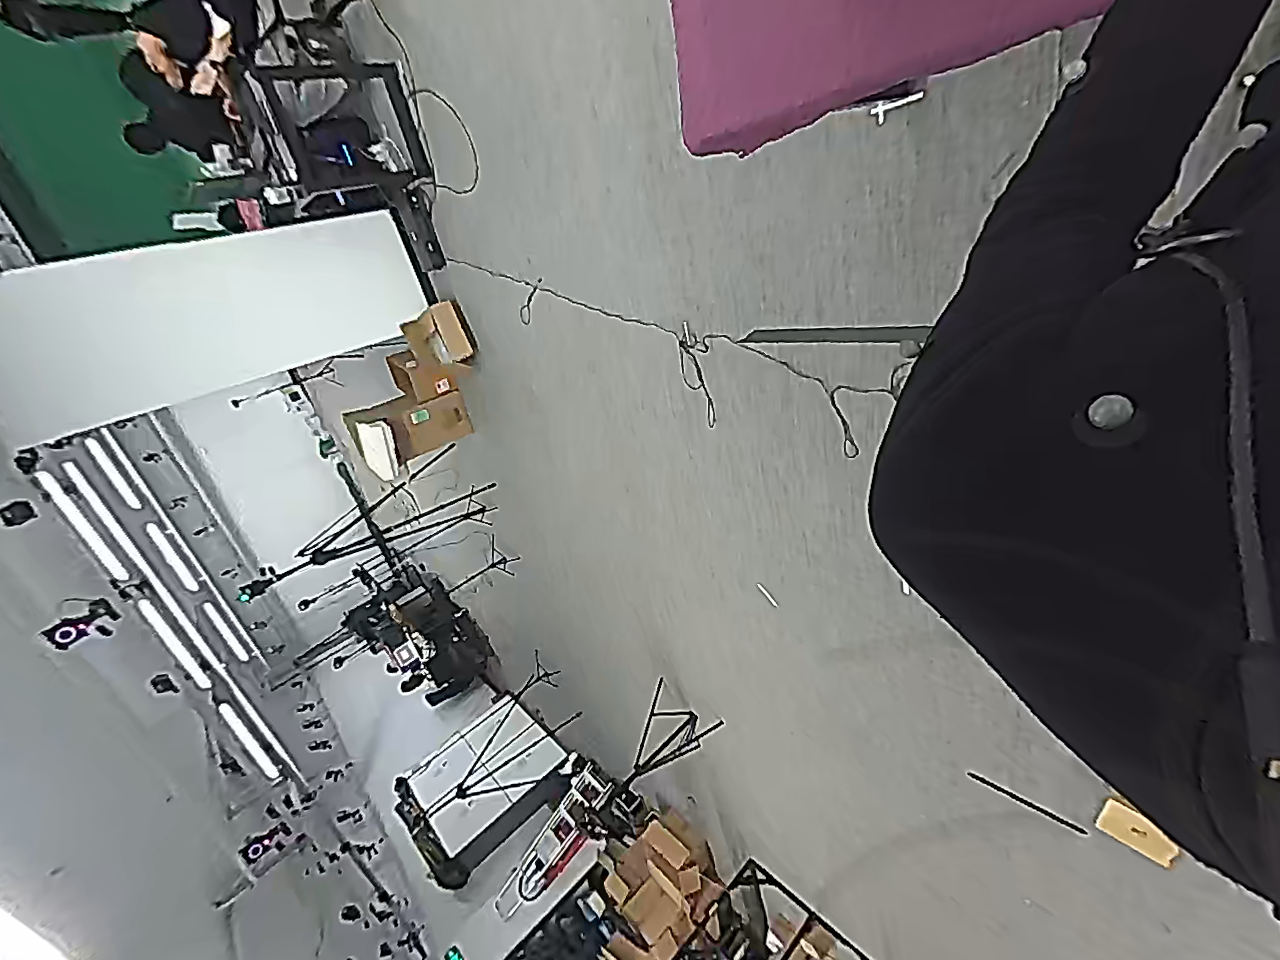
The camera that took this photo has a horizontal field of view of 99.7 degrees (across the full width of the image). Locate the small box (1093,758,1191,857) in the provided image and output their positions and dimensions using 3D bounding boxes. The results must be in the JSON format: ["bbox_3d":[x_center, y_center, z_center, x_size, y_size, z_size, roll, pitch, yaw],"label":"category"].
[{"bbox_3d":[1.559,1.004,1.680,0.179,0.176,0.168,22,133,42],"label":"small box"}]
